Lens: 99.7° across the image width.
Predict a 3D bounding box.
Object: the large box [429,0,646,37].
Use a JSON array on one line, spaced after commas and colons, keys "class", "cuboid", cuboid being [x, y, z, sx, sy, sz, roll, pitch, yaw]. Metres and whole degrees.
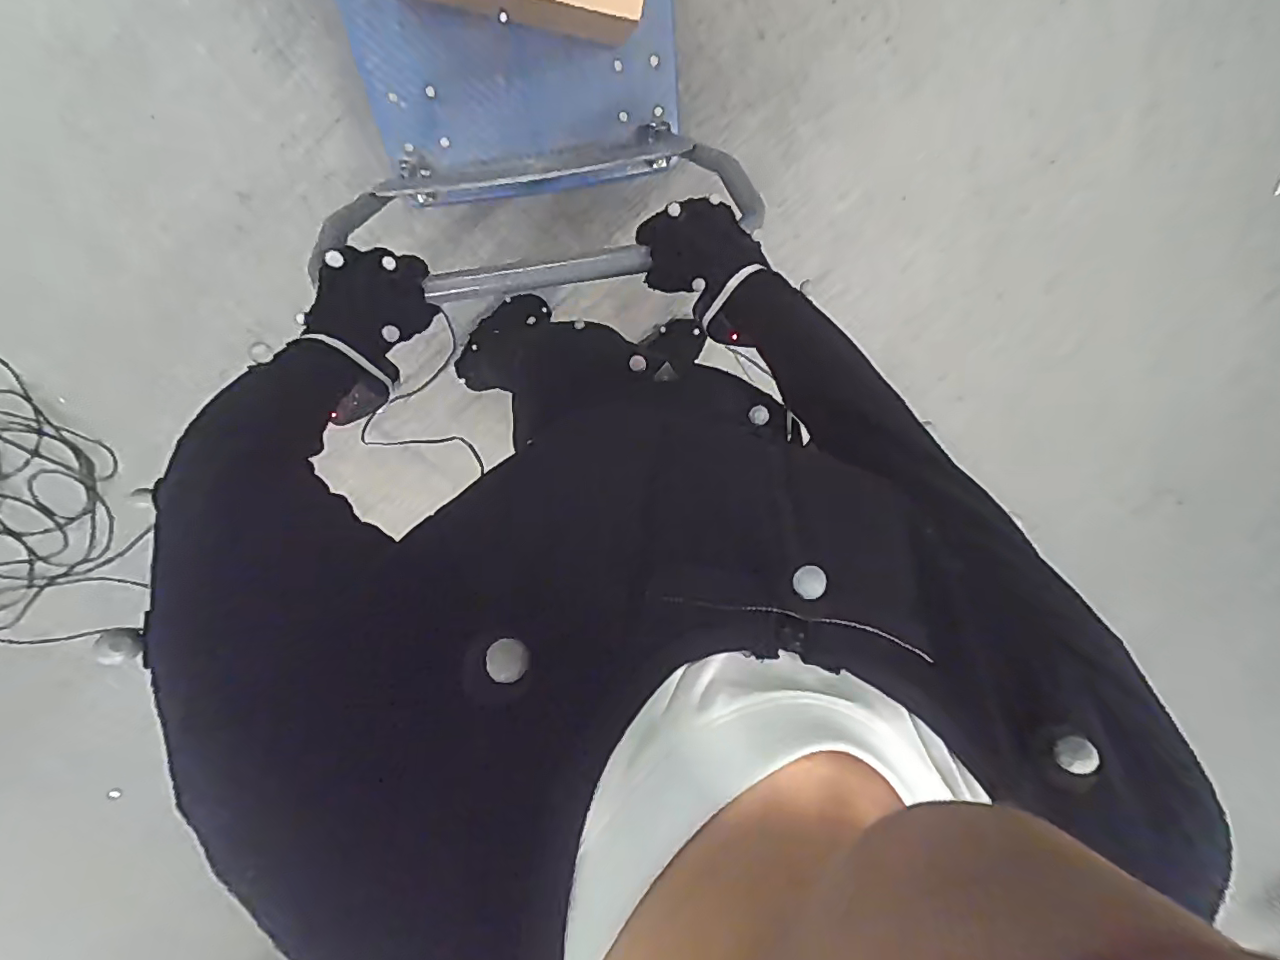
[{"class": "large box", "cuboid": [-0.181, -0.862, 0.758, 0.408, 0.320, 0.320, 4, 122, -10]}]
